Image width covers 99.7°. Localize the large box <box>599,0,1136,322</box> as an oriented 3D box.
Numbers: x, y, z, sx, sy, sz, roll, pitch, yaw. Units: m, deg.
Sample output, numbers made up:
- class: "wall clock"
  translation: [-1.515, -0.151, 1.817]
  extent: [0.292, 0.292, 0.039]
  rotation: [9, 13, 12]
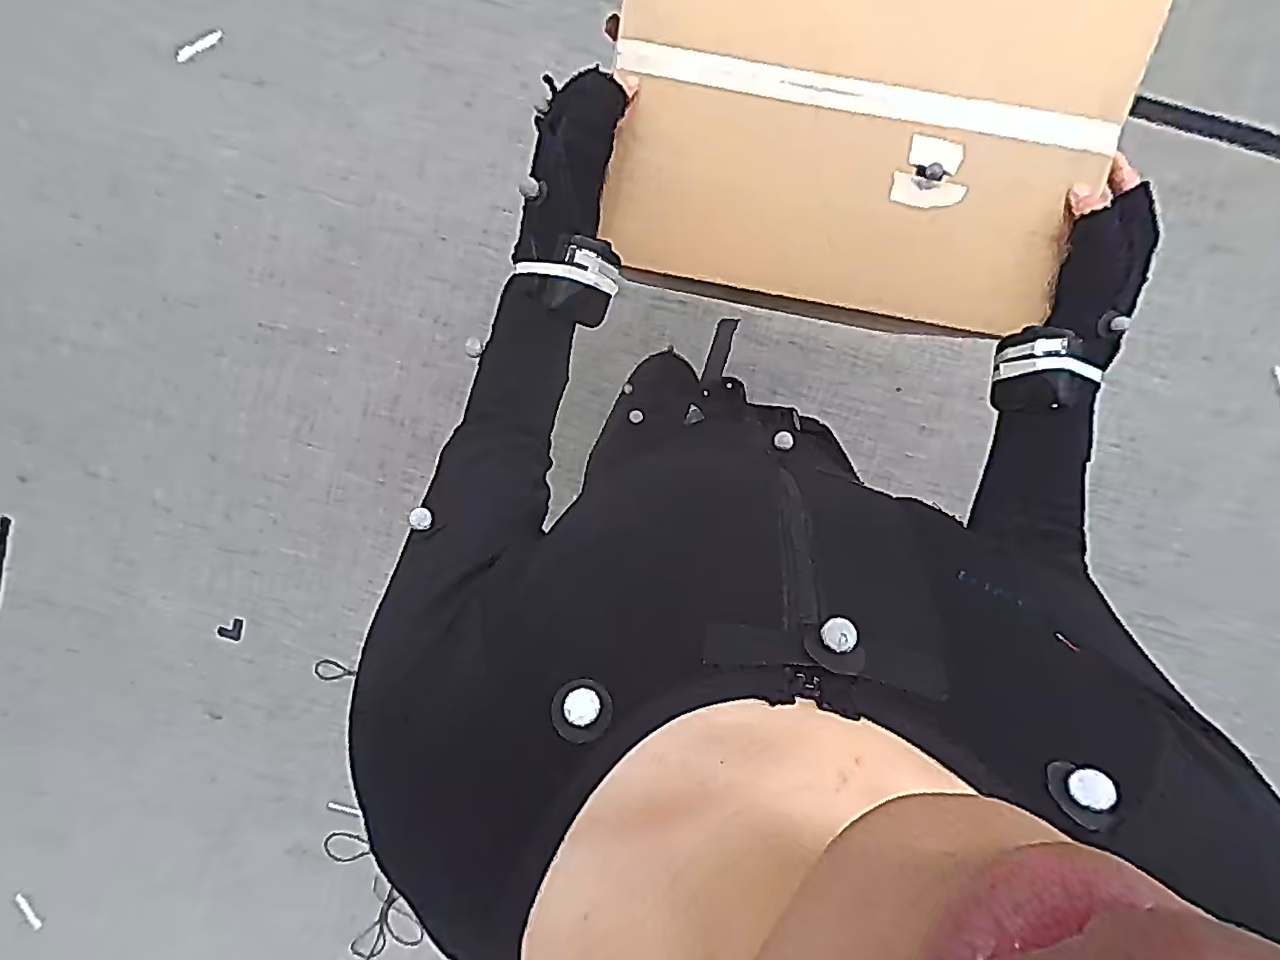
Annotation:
- class: "large box"
  translation: [0.186, -0.362, 0.596]
  extent: [0.408, 0.320, 0.320]
  rotation: [10, 108, 1]
